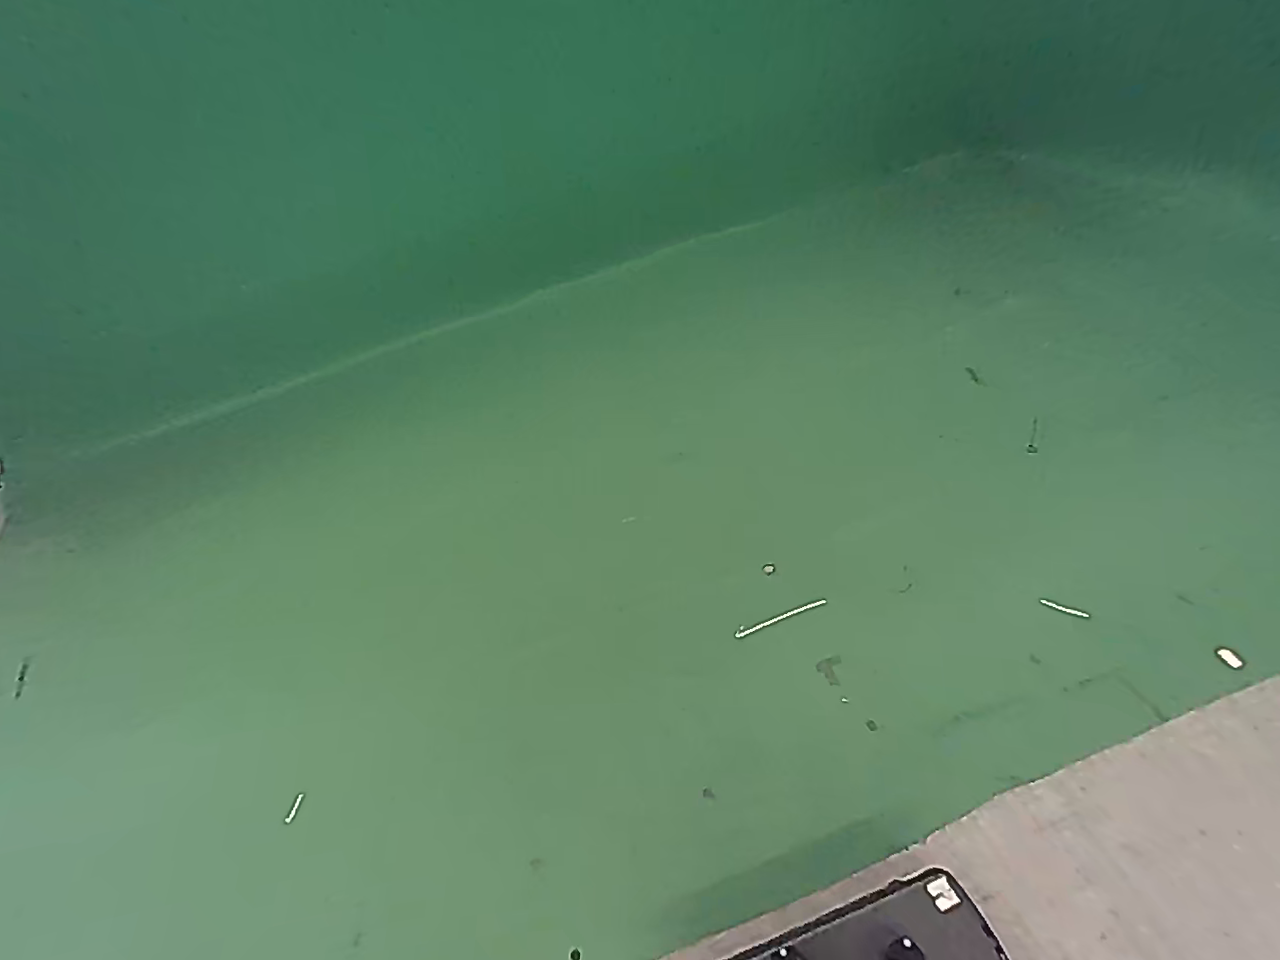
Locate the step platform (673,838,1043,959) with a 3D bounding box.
[{"bbox_3d":[0.353,0.930,0.971,0.684,0.204,0.286,-22,51,-4],"label":"step platform"}]
